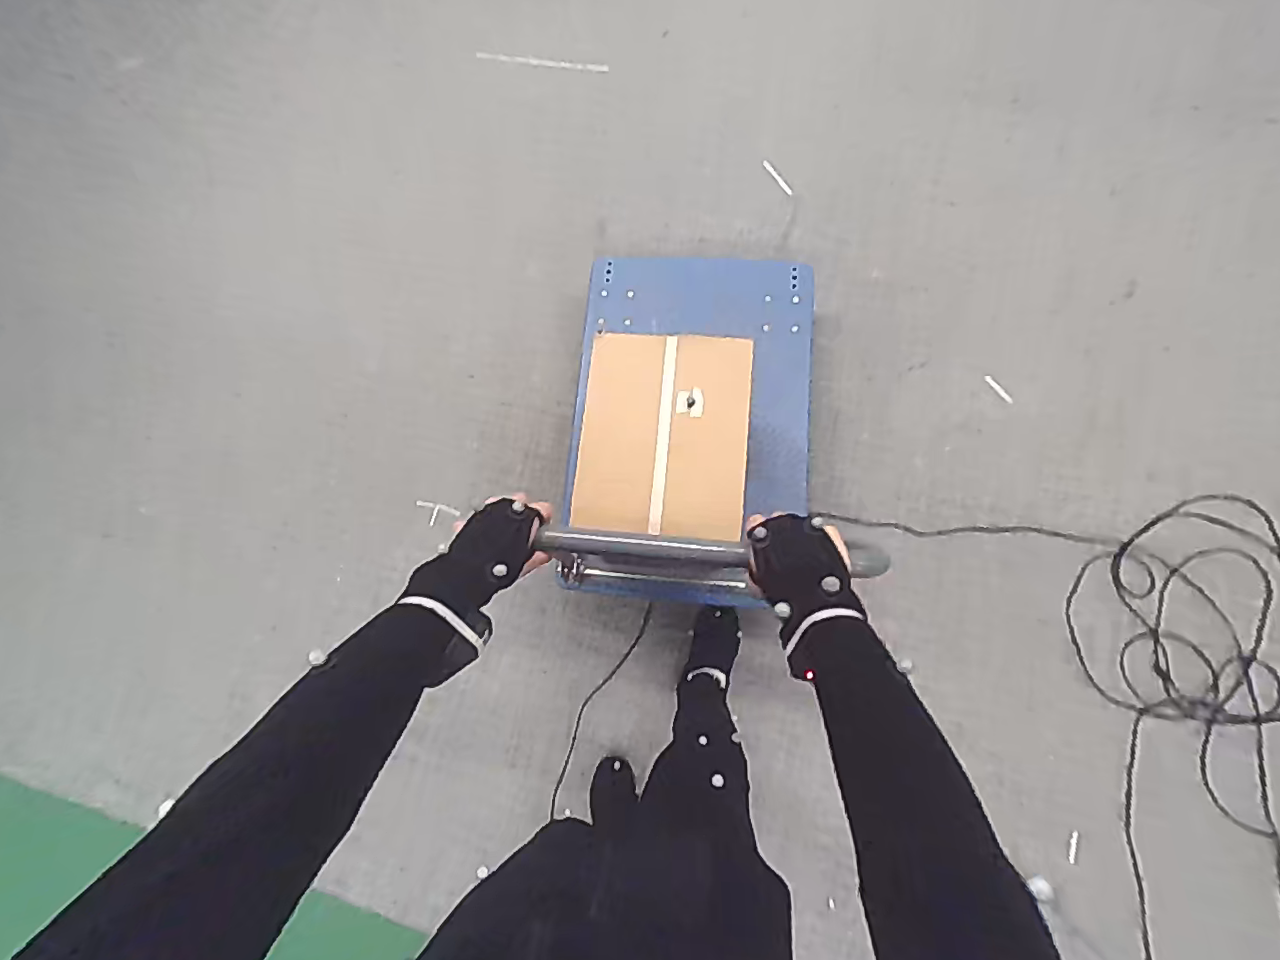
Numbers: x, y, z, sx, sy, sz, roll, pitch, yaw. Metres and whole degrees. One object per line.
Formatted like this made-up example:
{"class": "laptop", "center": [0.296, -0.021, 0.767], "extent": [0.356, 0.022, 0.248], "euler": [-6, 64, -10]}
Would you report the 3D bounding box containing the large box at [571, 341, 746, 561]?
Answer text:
{"class": "large box", "center": [0.054, -0.045, 1.177], "extent": [0.320, 0.320, 0.408], "euler": [5, 77, 6]}
